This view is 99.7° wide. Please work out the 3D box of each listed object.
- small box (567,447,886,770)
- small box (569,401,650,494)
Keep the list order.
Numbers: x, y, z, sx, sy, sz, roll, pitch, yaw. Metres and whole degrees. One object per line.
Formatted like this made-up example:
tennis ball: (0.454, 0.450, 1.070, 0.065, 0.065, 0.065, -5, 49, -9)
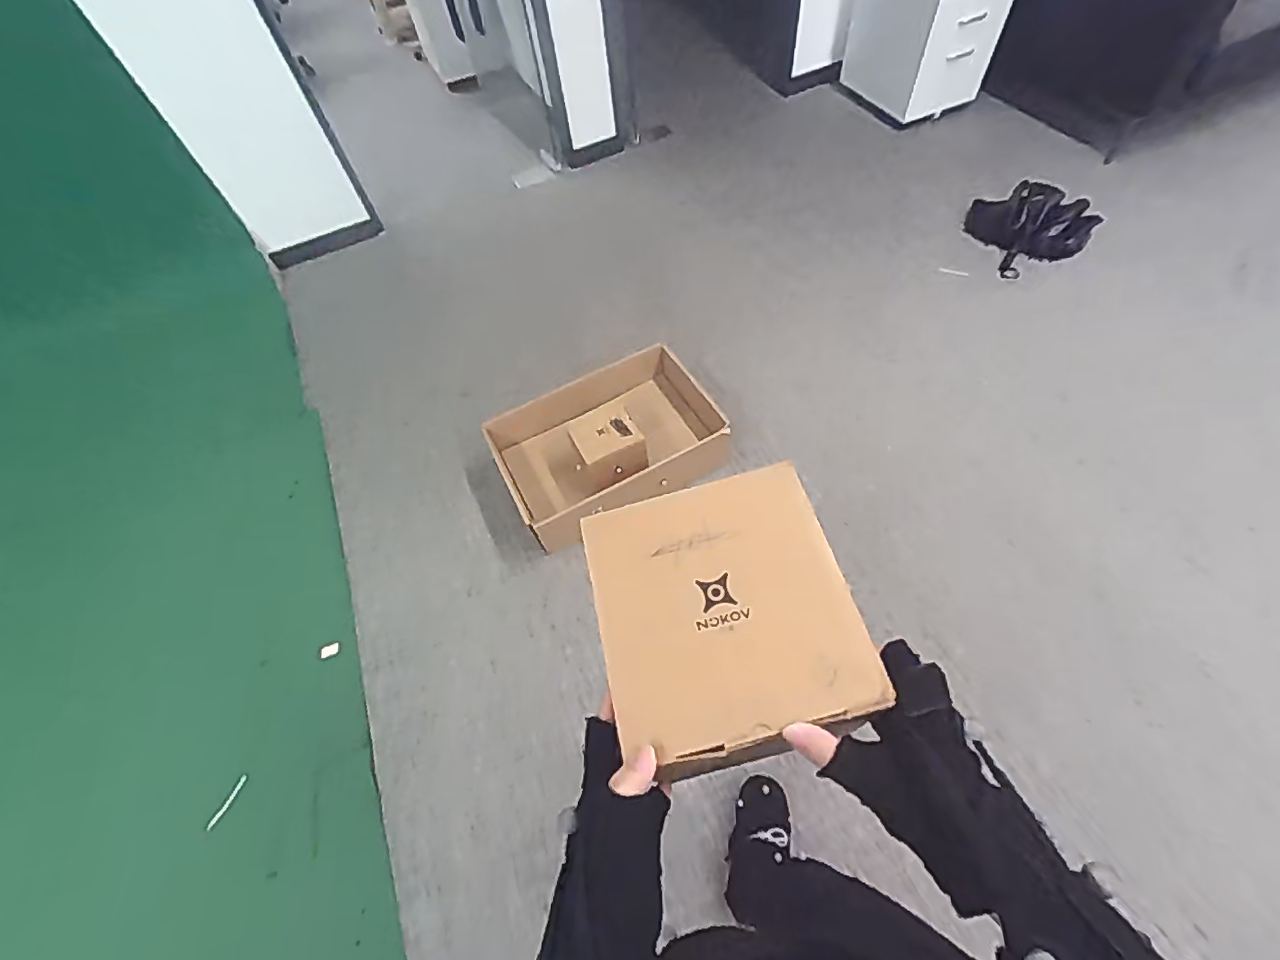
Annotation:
small box: (0.060, 0.109, 0.426, 0.168, 0.176, 0.179, -20, 60, 0)
small box: (-0.081, -0.091, 1.562, 0.179, 0.176, 0.168, -27, 58, -8)
